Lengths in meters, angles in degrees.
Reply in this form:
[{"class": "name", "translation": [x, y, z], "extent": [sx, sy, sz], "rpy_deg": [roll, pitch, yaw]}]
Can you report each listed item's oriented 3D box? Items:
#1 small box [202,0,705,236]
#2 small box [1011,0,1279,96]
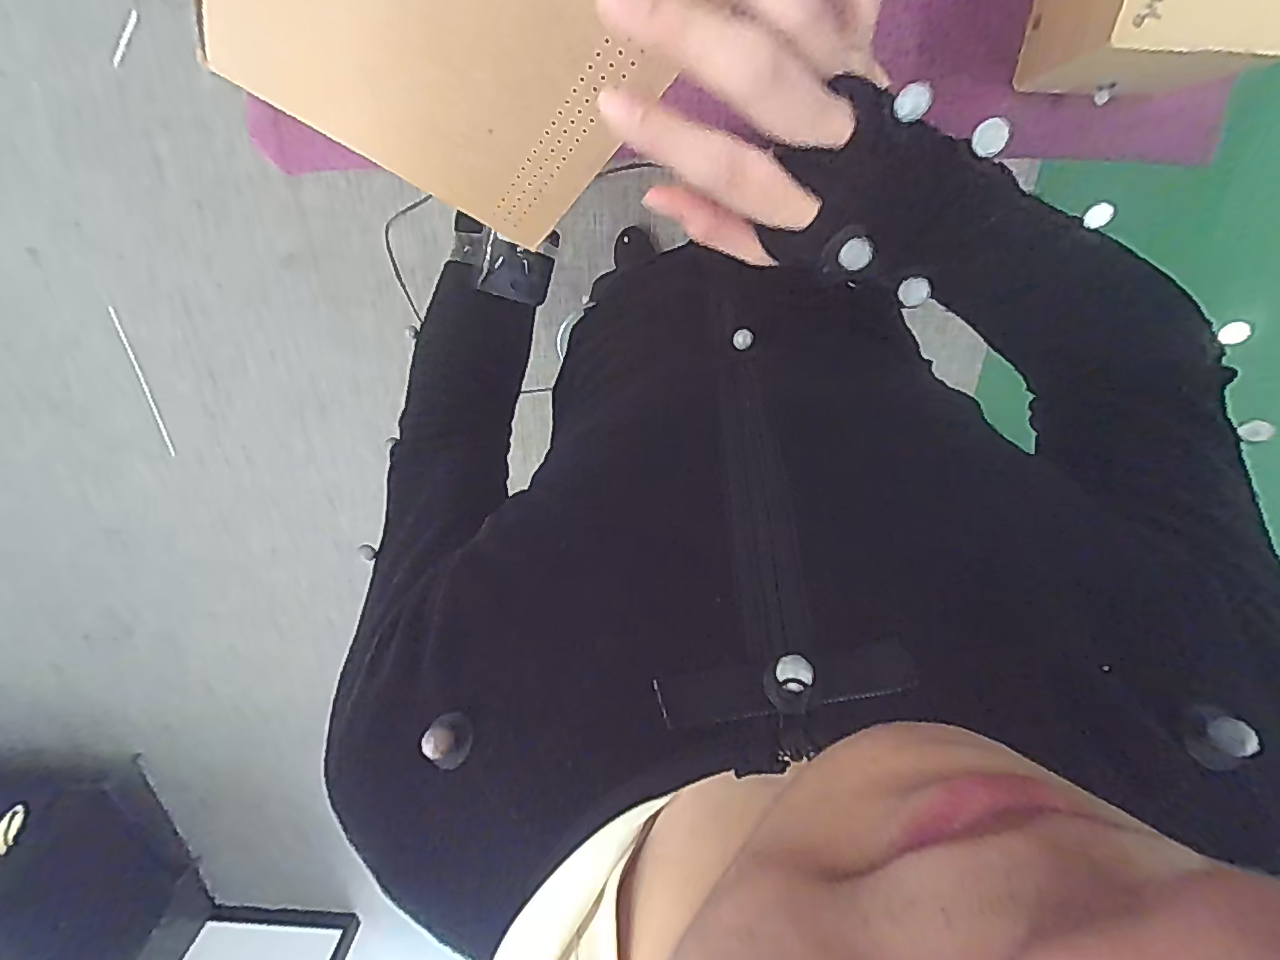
[{"class": "small box", "translation": [-0.067, -0.256, 0.245], "extent": [0.176, 0.168, 0.179], "rpy_deg": [20, 157, -32]}, {"class": "small box", "translation": [0.534, -0.510, 0.550], "extent": [0.179, 0.176, 0.168], "rpy_deg": [4, 114, 2]}]
